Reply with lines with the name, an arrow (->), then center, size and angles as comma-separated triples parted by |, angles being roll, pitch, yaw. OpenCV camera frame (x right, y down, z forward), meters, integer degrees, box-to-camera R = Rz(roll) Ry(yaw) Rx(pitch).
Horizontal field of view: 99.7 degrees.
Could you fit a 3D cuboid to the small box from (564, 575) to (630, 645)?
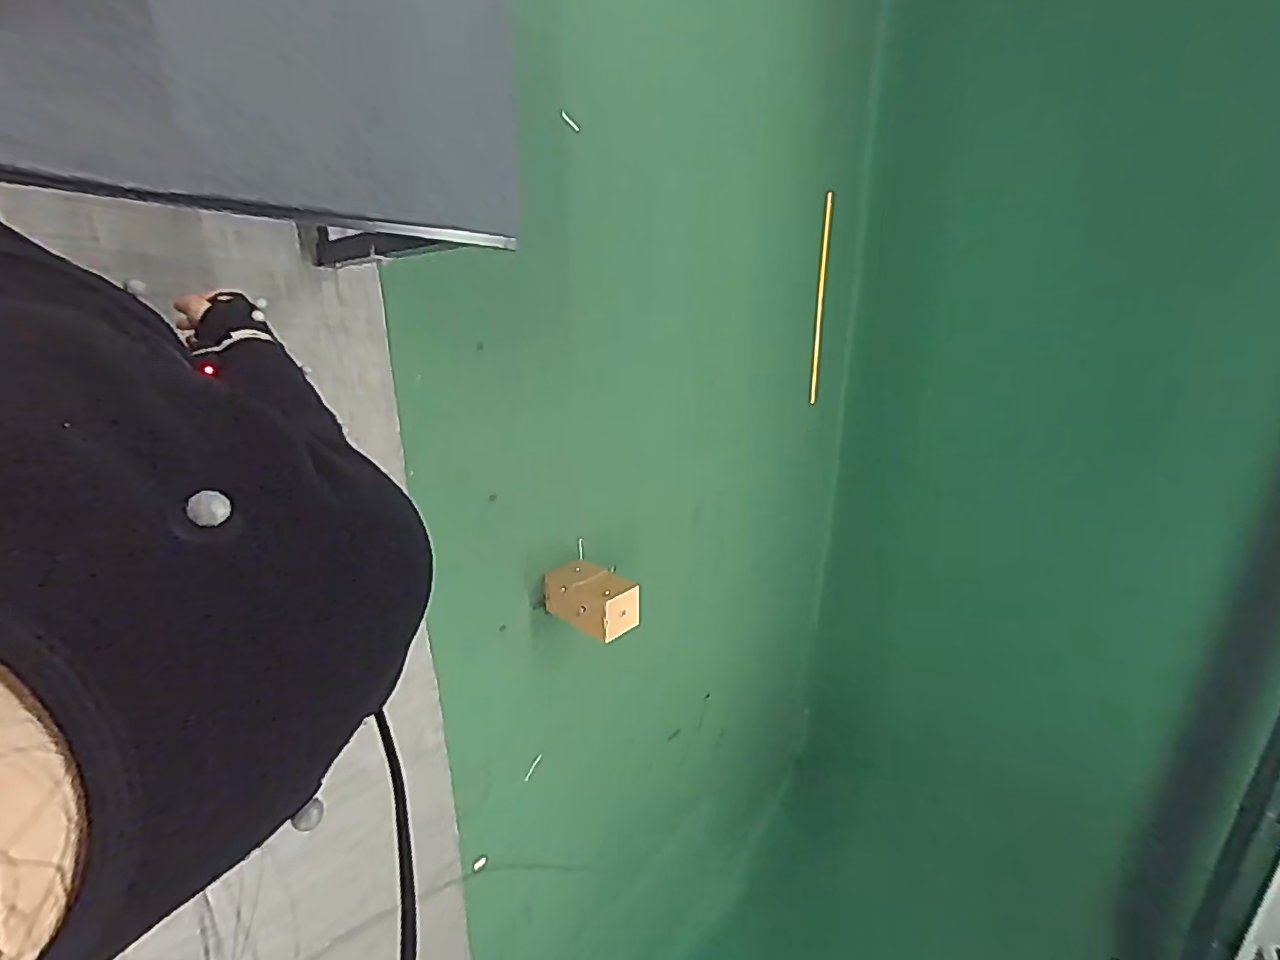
small box -> -0.156, 0.464, 1.965 | 0.179, 0.176, 0.168 | -17, 114, -47
